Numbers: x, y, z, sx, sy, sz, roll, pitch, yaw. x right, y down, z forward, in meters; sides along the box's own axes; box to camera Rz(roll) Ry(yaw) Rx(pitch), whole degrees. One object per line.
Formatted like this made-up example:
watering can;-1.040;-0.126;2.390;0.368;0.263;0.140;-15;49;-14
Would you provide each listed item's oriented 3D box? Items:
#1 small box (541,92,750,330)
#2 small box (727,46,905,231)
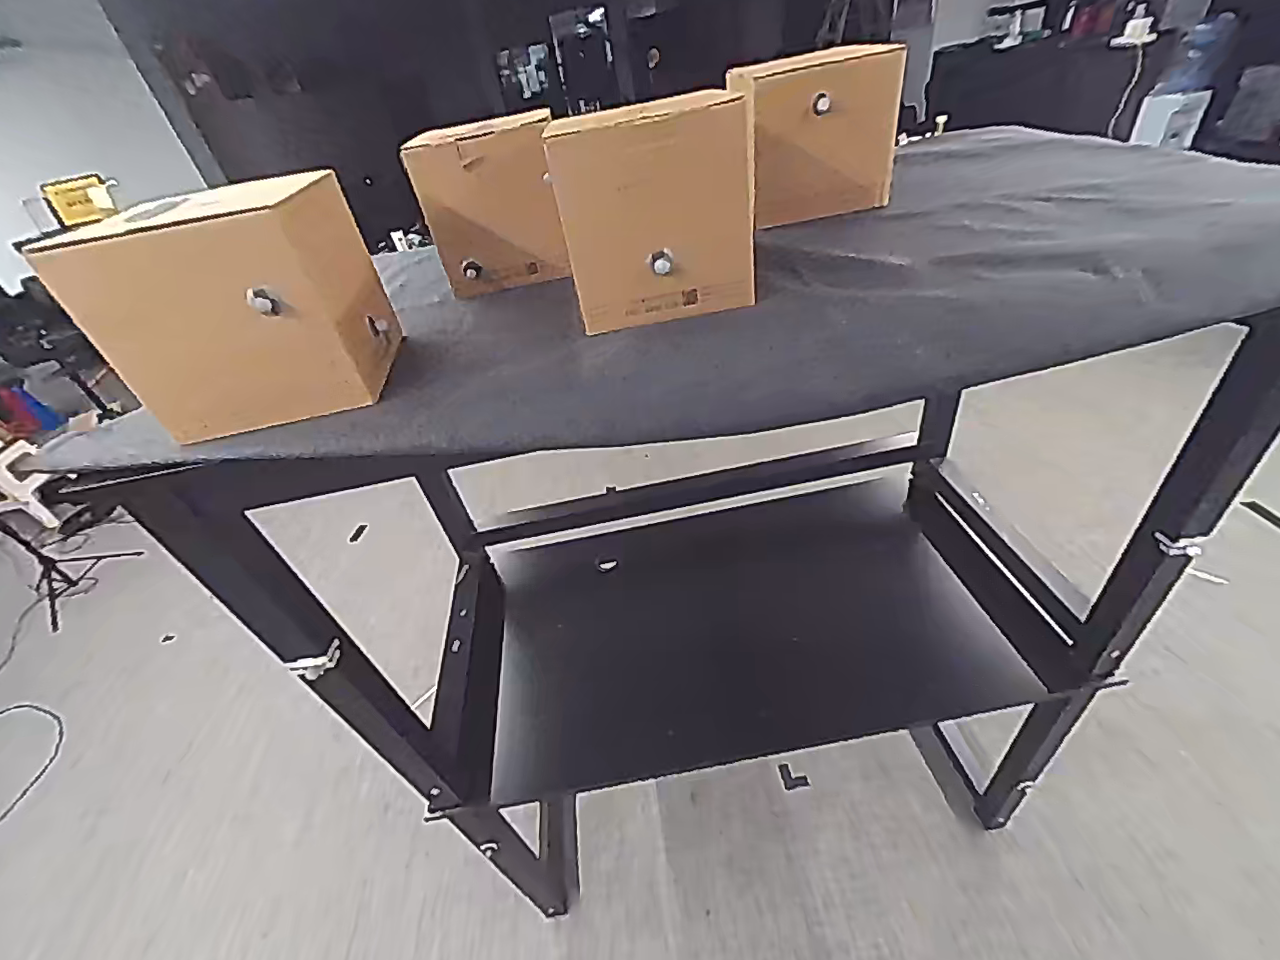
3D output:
small box;0.010;-0.268;0.538;0.168;0.176;0.179;-10;37;3
small box;0.219;-0.450;0.715;0.179;0.176;0.168;-10;38;4
